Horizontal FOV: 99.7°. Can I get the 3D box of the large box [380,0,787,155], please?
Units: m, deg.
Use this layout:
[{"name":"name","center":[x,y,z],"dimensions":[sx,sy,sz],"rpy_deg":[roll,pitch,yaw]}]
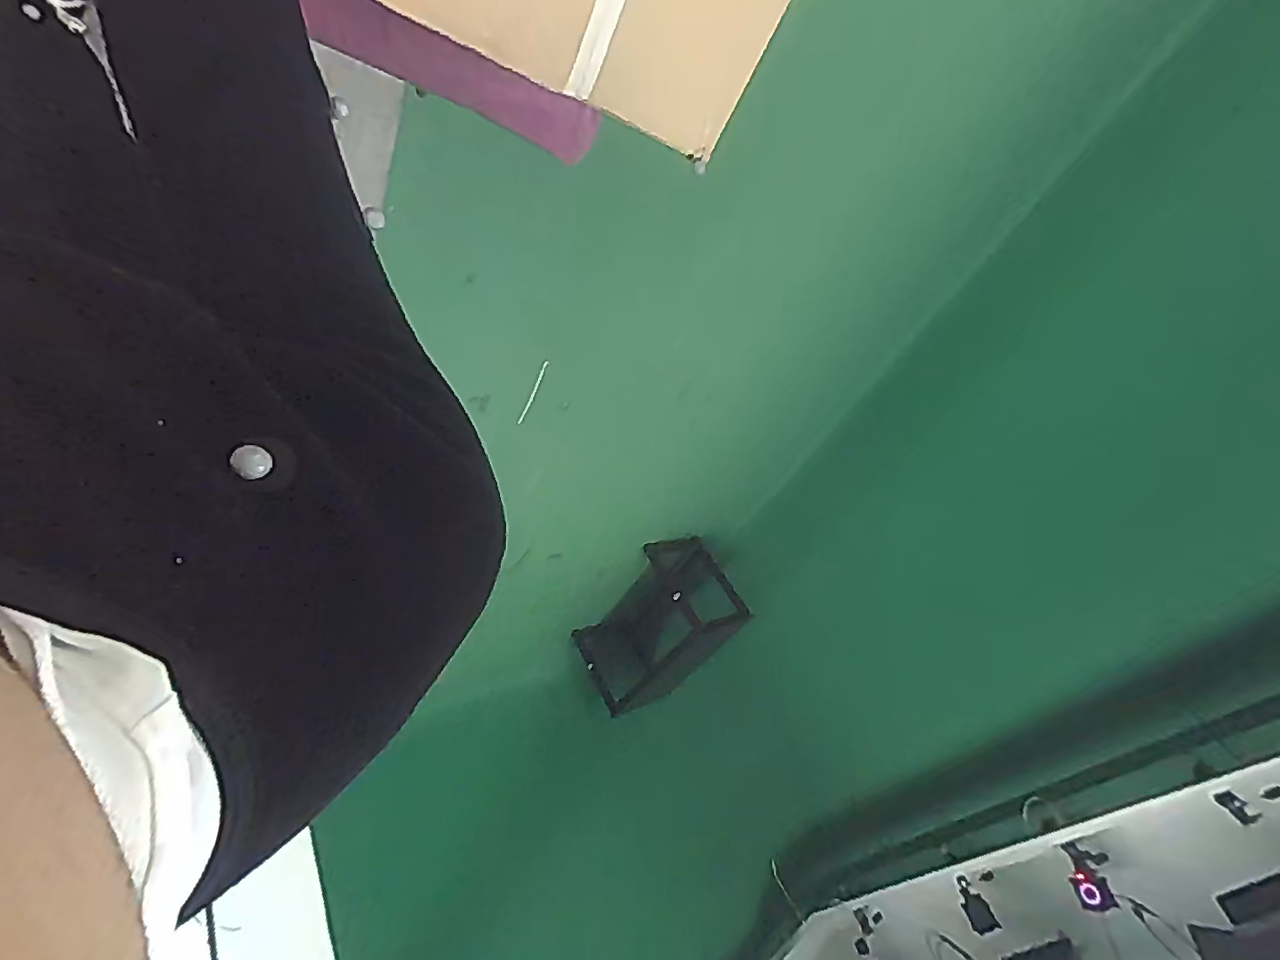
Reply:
[{"name":"large box","center":[-0.033,-0.542,0.372],"dimensions":[0.320,0.320,0.408],"rpy_deg":[-5,141,-41]}]
